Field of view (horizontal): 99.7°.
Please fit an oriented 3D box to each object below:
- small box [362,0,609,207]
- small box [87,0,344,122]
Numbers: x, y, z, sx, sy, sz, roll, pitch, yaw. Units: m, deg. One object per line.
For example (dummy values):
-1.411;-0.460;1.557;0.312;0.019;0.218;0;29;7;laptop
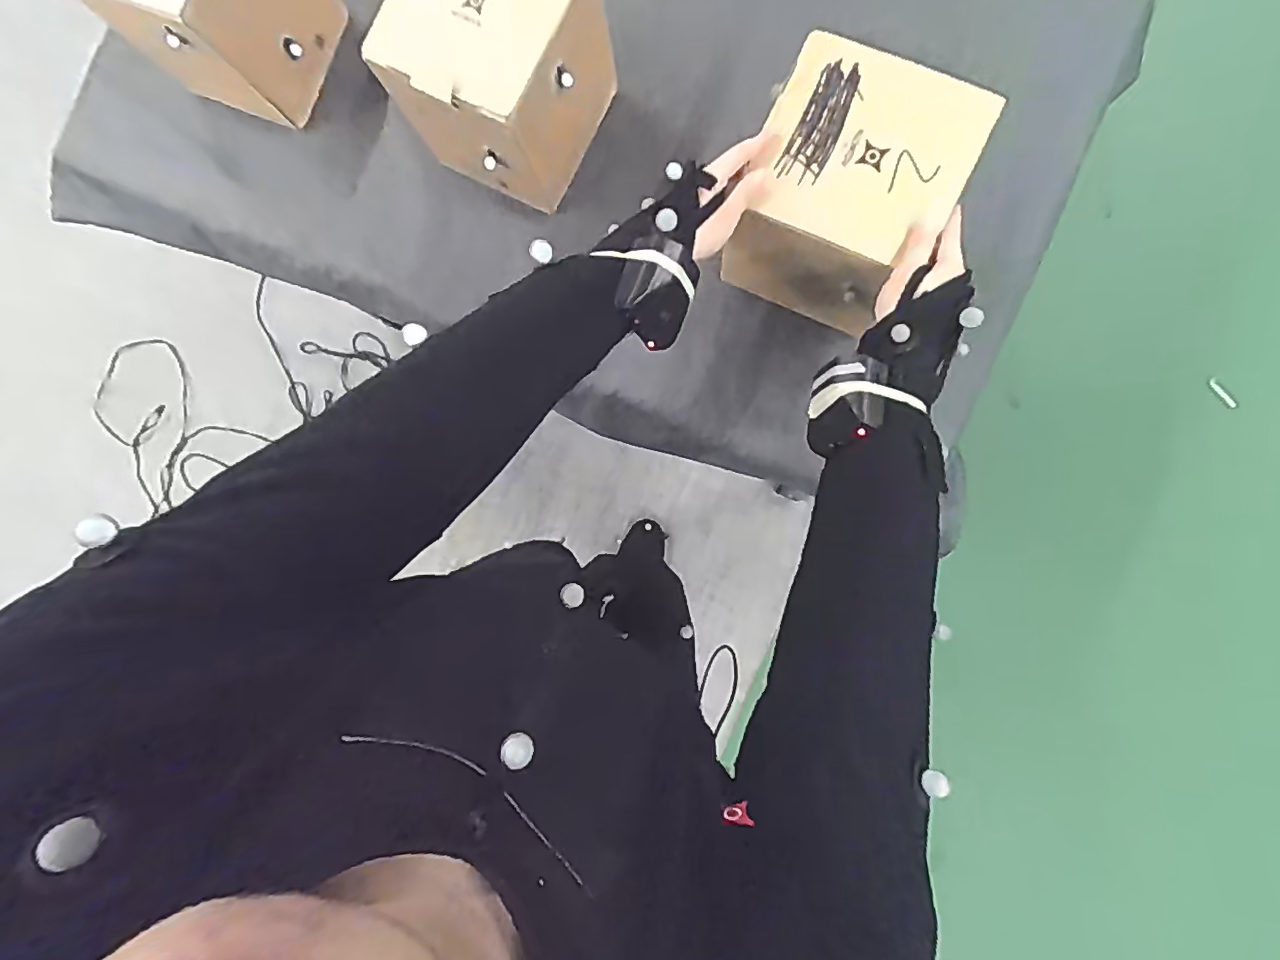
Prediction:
-0.145;-0.435;0.579;0.168;0.176;0.179;27;90;5;small box
-0.490;-0.556;0.619;0.179;0.176;0.168;22;90;6;small box
